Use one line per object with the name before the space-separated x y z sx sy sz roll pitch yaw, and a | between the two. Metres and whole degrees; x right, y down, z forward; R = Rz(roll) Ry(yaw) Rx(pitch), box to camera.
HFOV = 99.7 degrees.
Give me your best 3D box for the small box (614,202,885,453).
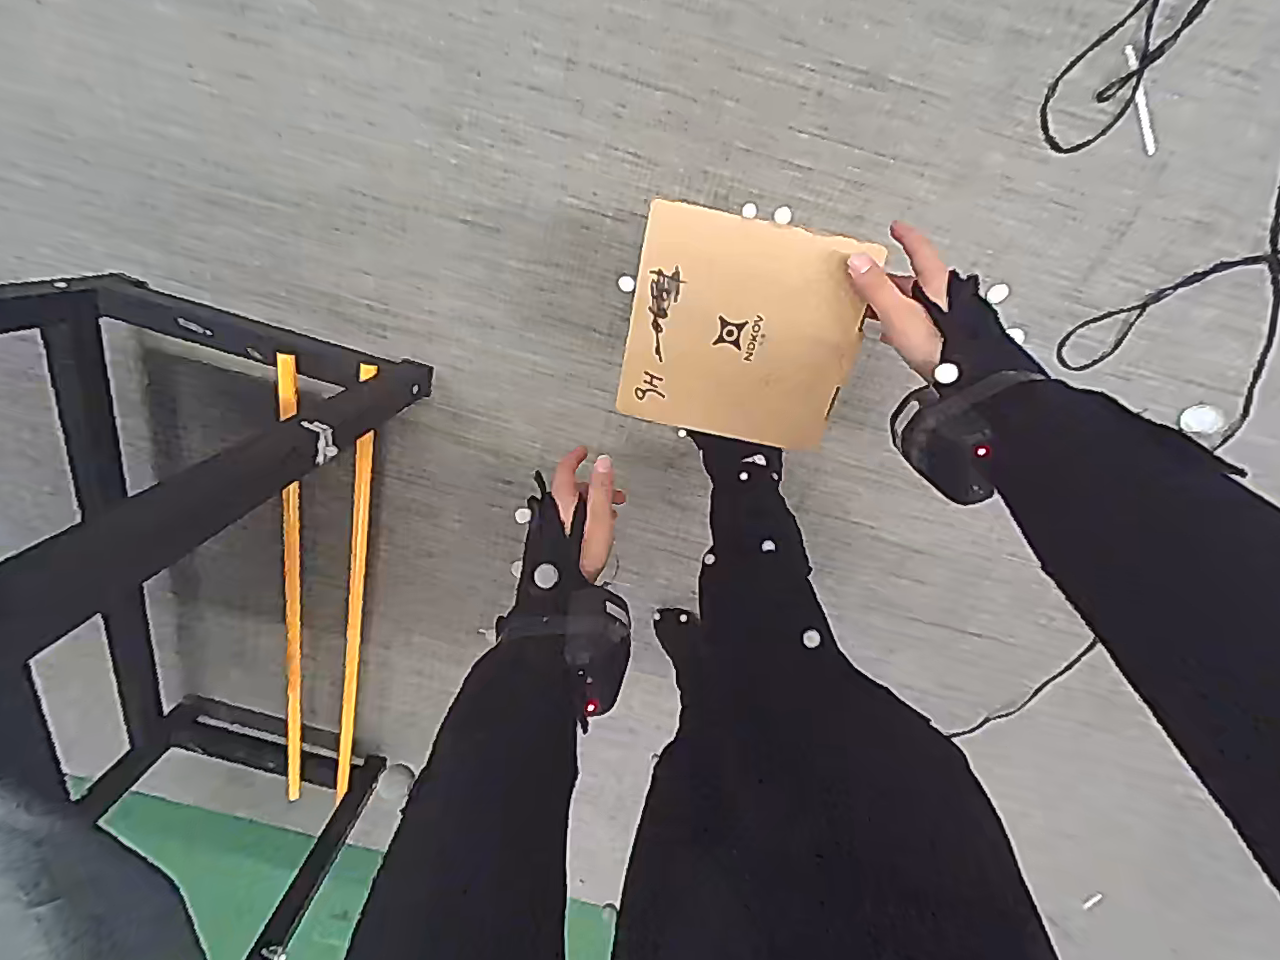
small box | 0.083 -0.144 0.494 0.179 0.176 0.168 12 114 -1
